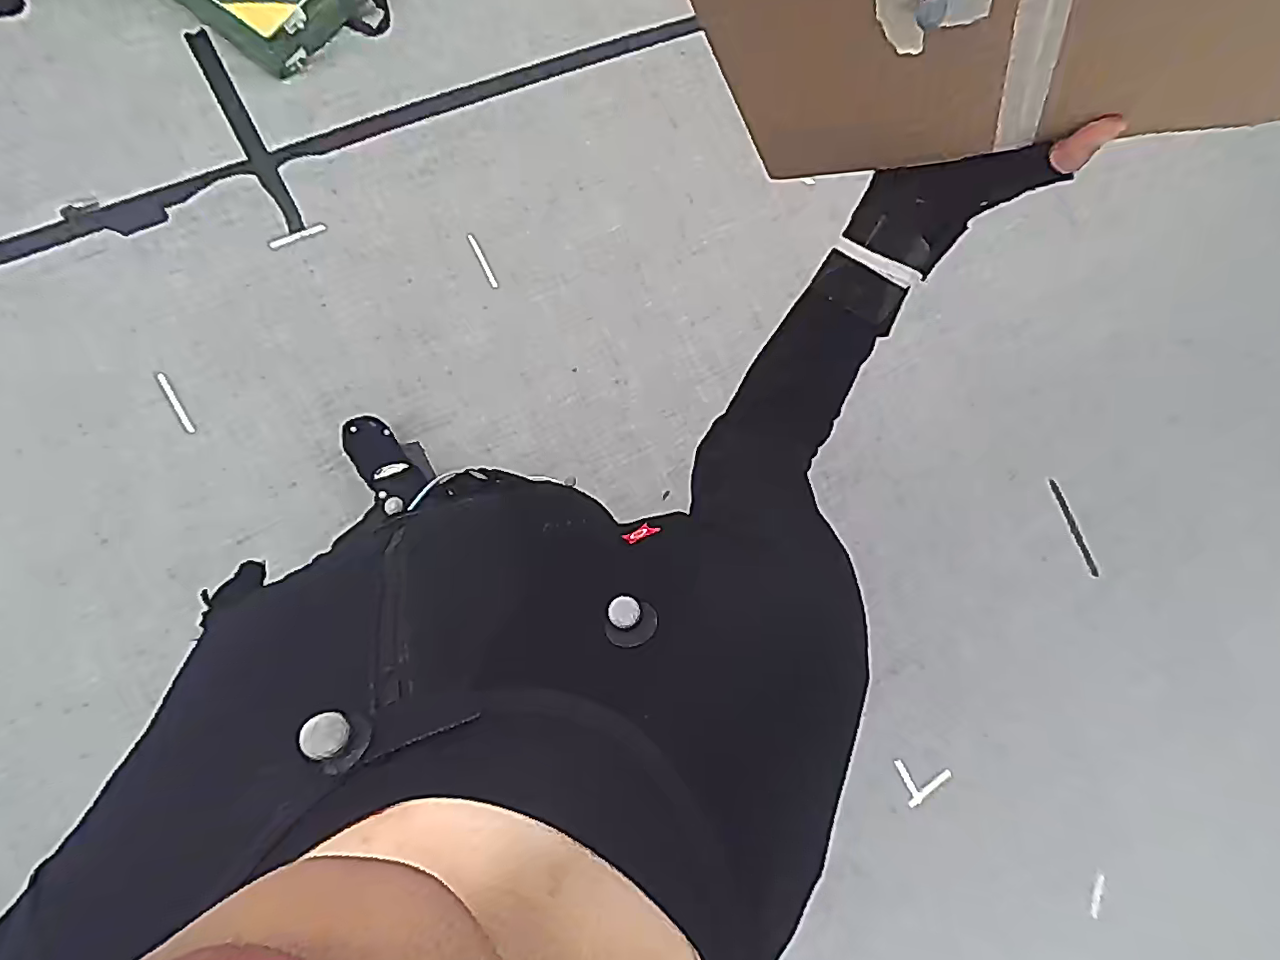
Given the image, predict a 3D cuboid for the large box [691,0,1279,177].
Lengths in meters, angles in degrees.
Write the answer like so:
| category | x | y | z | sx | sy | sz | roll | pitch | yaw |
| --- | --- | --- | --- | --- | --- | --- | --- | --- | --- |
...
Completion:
| category | x | y | z | sx | sy | sz | roll | pitch | yaw |
| --- | --- | --- | --- | --- | --- | --- | --- | --- | --- |
| large box | 0.166 | -0.376 | 0.177 | 0.320 | 0.408 | 0.320 | 11 | 92 | 28 |
